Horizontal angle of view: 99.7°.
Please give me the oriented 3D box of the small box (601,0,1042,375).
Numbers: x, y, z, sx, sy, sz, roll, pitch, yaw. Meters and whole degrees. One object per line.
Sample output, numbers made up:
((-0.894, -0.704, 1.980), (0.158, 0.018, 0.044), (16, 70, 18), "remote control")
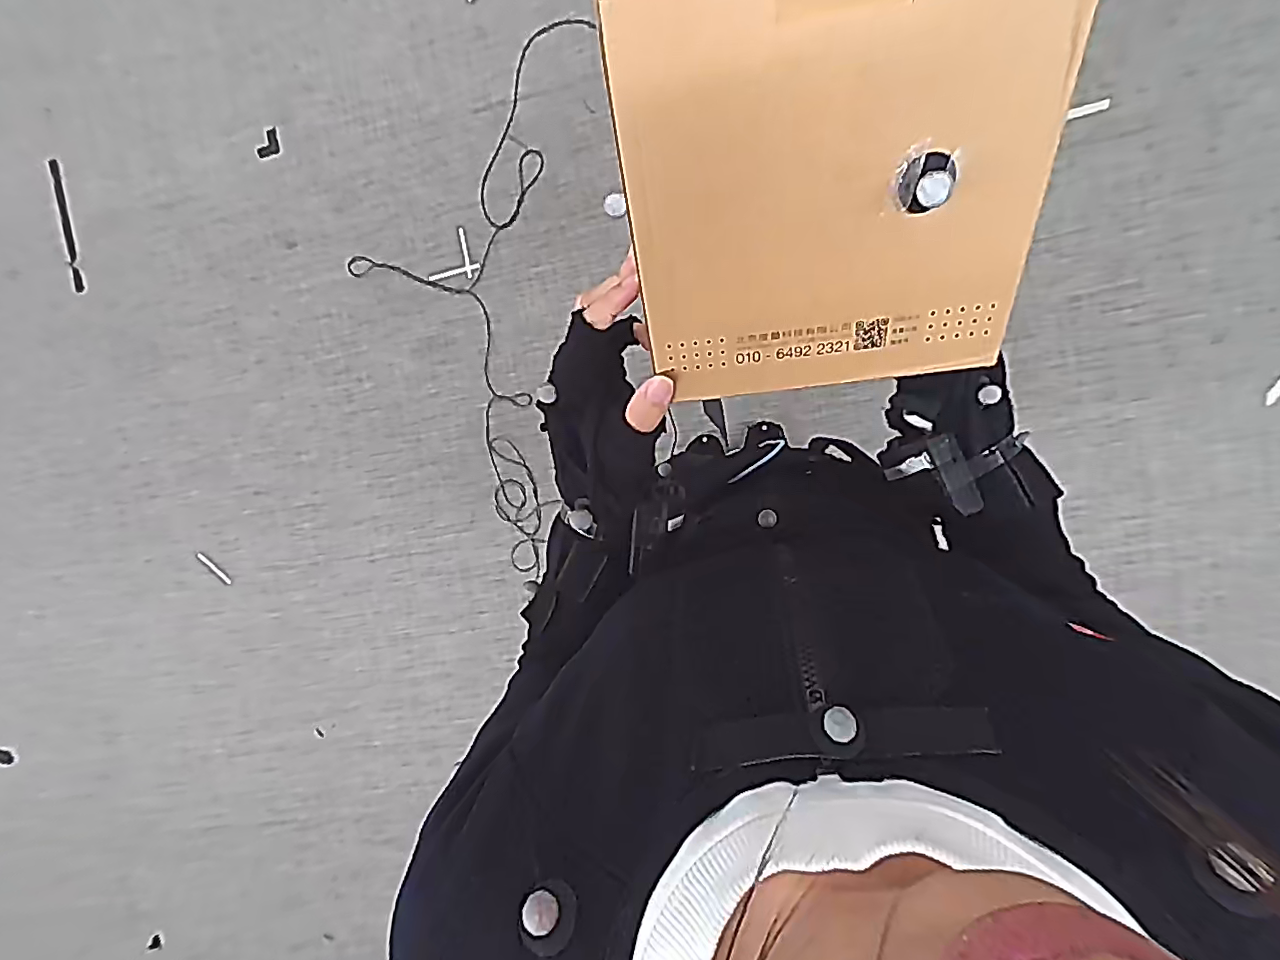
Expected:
((0.084, -0.169, 0.303), (0.168, 0.179, 0.176), (-5, 129, 9), "small box")
